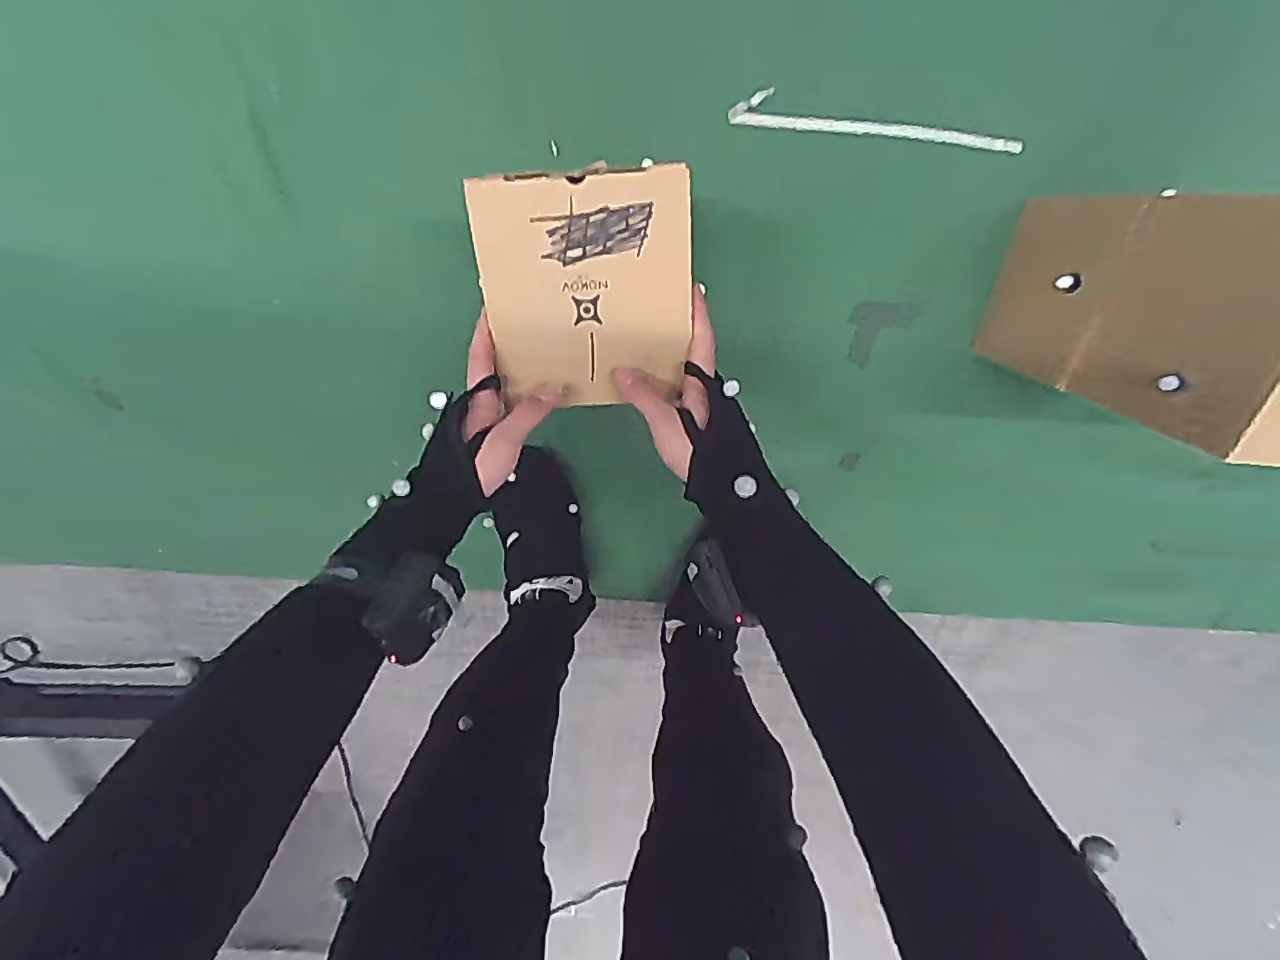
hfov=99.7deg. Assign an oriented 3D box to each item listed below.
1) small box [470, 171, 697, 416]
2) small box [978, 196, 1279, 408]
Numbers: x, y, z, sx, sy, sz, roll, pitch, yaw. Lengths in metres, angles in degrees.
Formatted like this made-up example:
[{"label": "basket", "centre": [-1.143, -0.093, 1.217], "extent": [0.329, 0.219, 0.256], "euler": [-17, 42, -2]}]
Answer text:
[{"label": "small box", "centre": [-0.036, -0.170, 0.492], "extent": [0.168, 0.176, 0.179], "euler": [-2, 117, 4]}, {"label": "small box", "centre": [0.503, -0.192, 0.573], "extent": [0.168, 0.176, 0.179], "euler": [5, 117, -3]}]
